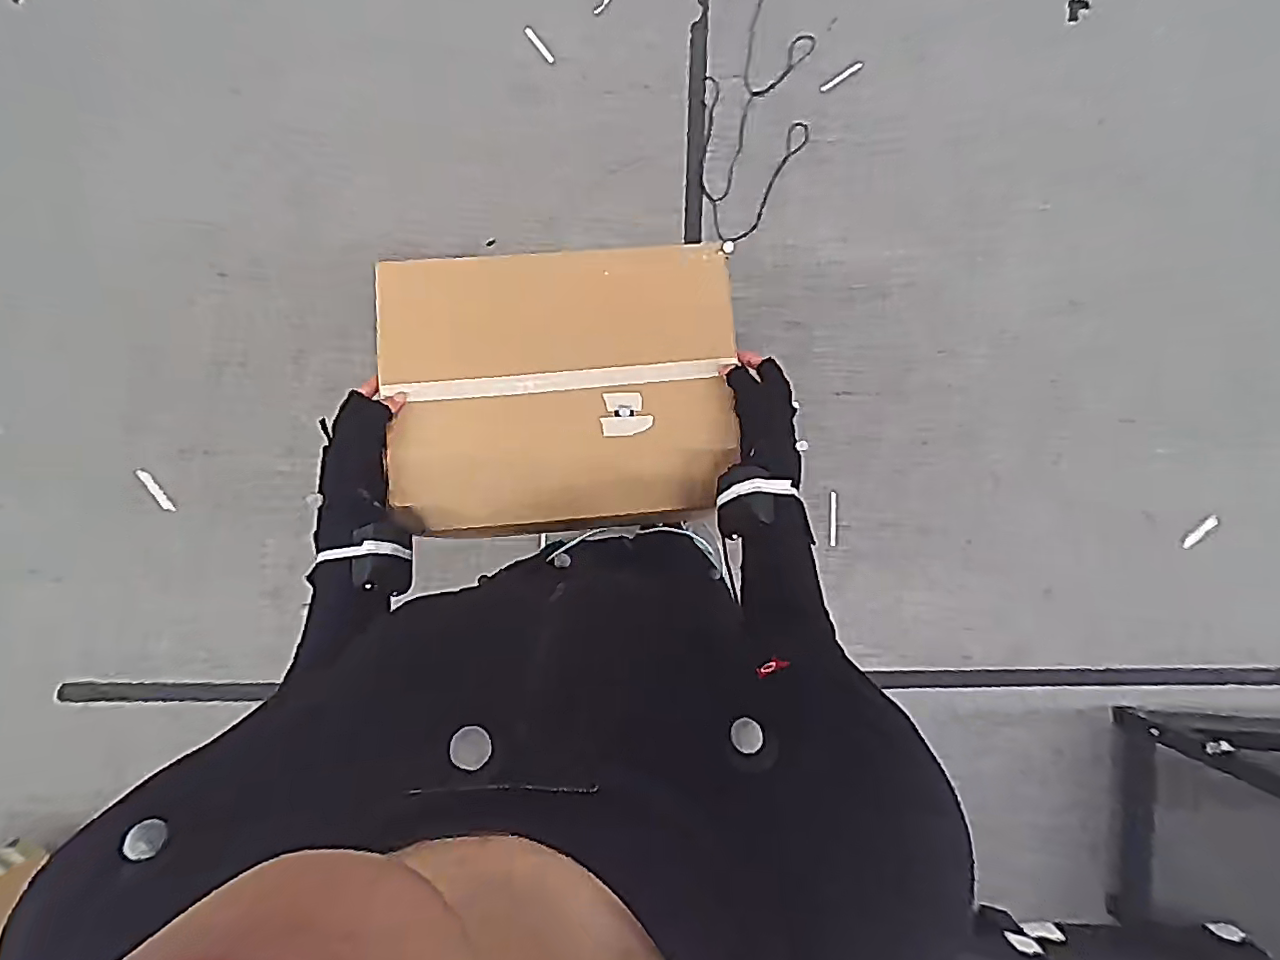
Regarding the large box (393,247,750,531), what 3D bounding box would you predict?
[{"bbox_3d":[-0.092,-0.101,0.778,0.408,0.320,0.320,-4,84,-4],"label":"large box"}]
